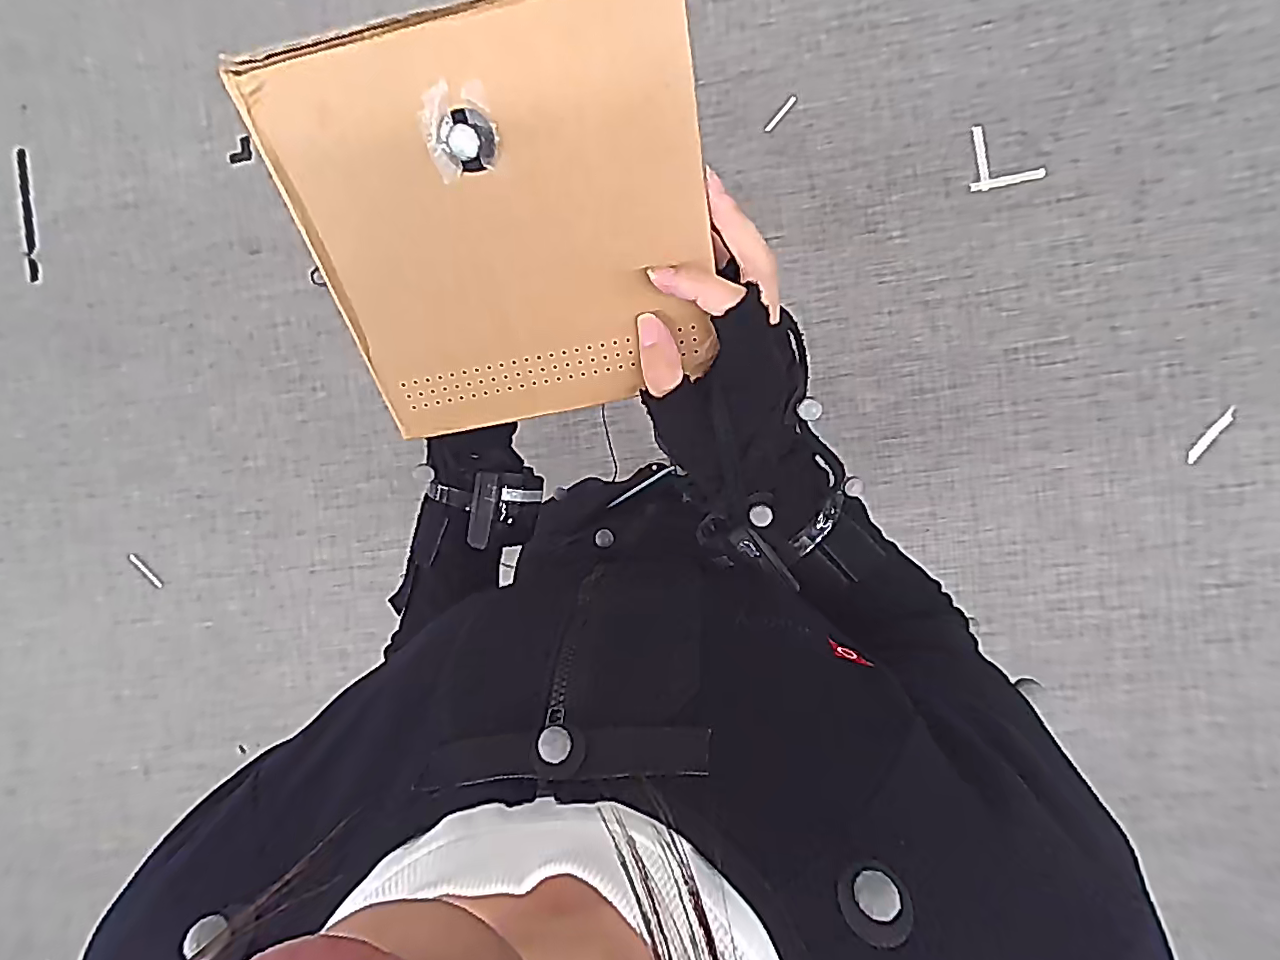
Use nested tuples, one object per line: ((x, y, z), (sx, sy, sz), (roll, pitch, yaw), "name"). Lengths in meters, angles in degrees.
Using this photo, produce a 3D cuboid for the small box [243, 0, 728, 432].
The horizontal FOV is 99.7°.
((-0.055, -0.143, 0.308), (0.179, 0.168, 0.176), (-10, 125, 5), "small box")
